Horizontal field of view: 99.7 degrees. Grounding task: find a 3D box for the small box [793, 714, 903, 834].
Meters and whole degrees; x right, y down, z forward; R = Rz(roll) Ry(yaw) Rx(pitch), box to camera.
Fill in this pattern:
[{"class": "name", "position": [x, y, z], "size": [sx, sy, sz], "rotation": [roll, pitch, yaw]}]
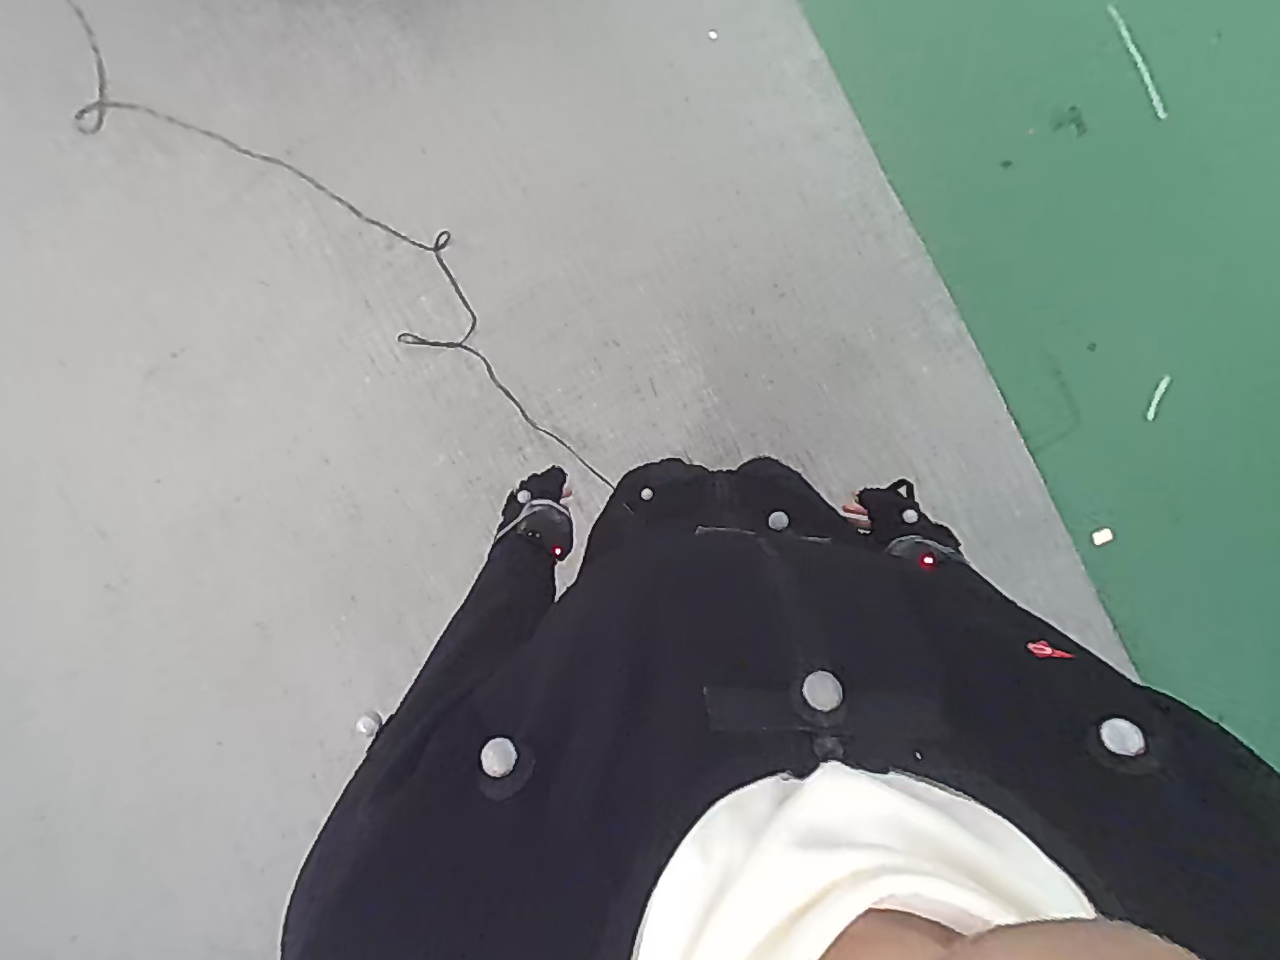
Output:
[{"class": "small box", "position": [0.502, 0.708, 1.332], "size": [0.168, 0.176, 0.179], "rotation": [-30, 91, 5]}]
